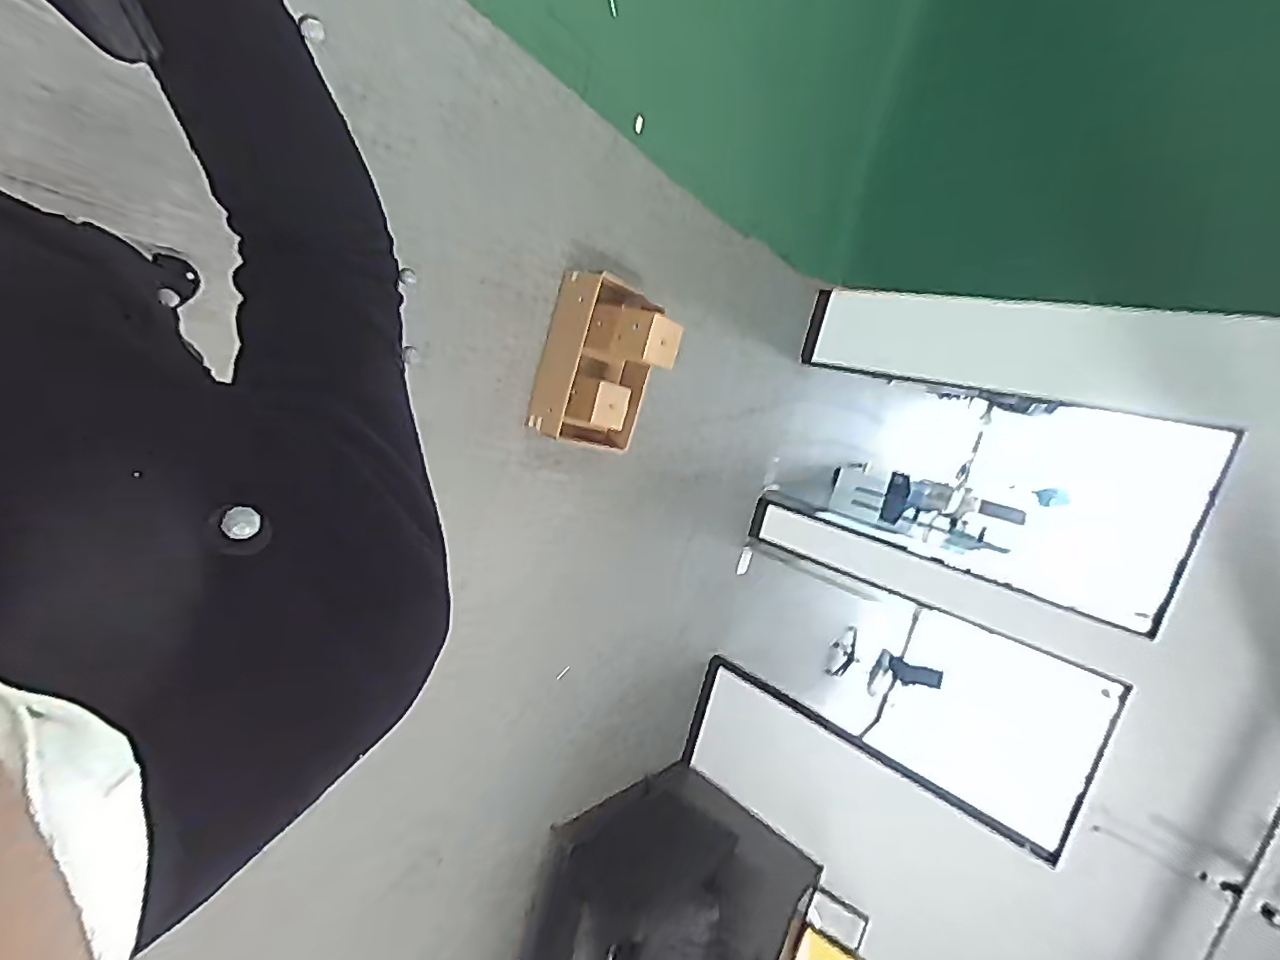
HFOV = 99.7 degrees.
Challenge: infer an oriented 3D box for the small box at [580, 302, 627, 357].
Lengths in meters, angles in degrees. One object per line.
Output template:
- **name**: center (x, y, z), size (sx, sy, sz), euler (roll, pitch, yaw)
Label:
- **small box**: center (-0.102, -0.571, 2.061), size (0.179, 0.176, 0.168), euler (6, 103, -51)

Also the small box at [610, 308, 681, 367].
- **small box**: center (0.015, -0.519, 1.961), size (0.179, 0.176, 0.168), euler (5, 103, -51)
